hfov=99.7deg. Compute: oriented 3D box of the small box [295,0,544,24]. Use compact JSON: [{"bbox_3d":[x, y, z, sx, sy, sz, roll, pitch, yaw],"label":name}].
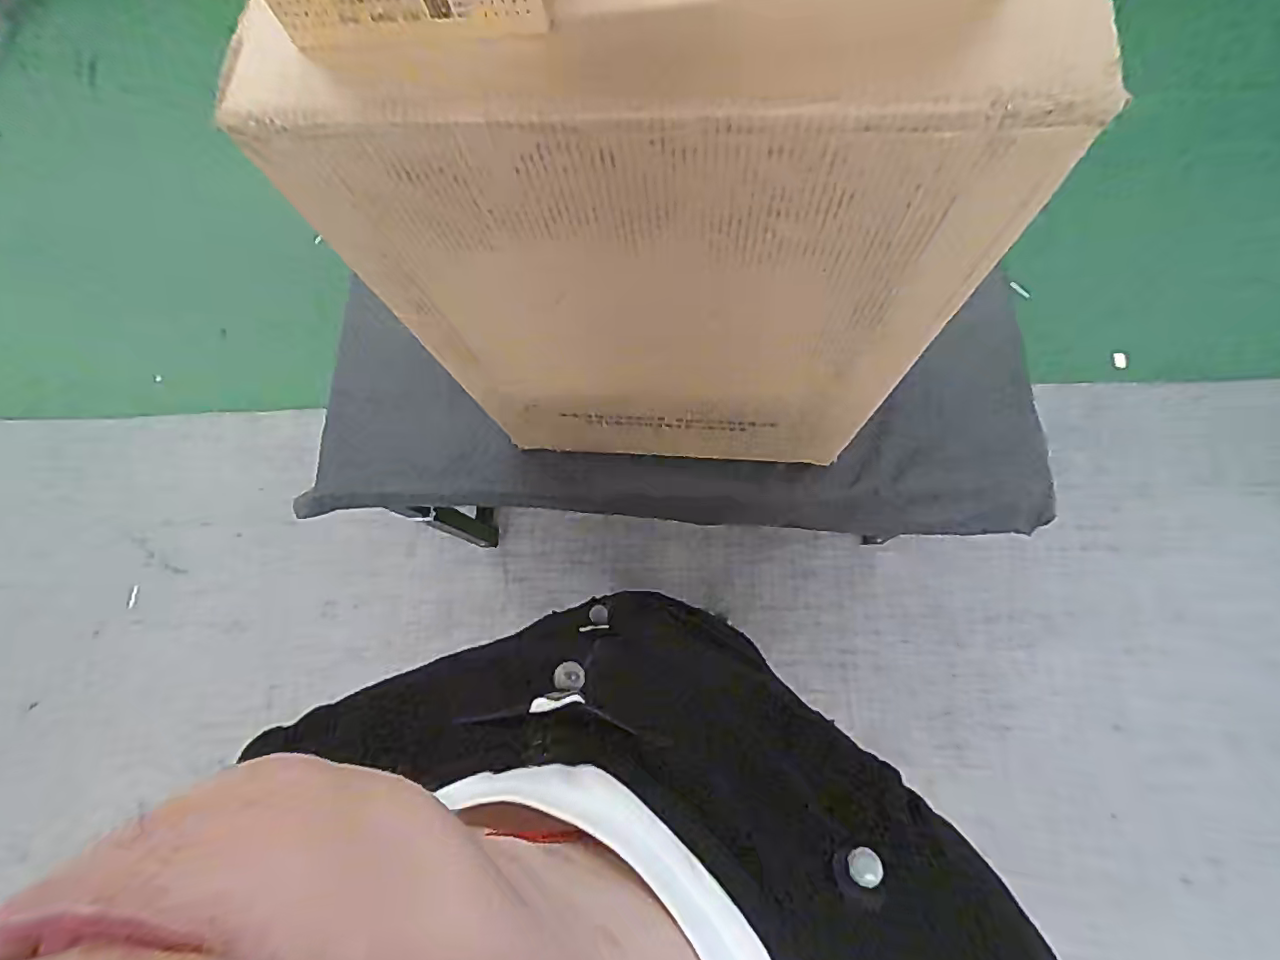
[{"bbox_3d":[-0.136,-0.380,0.269,0.168,0.176,0.179,3,78,6],"label":"small box"}]
